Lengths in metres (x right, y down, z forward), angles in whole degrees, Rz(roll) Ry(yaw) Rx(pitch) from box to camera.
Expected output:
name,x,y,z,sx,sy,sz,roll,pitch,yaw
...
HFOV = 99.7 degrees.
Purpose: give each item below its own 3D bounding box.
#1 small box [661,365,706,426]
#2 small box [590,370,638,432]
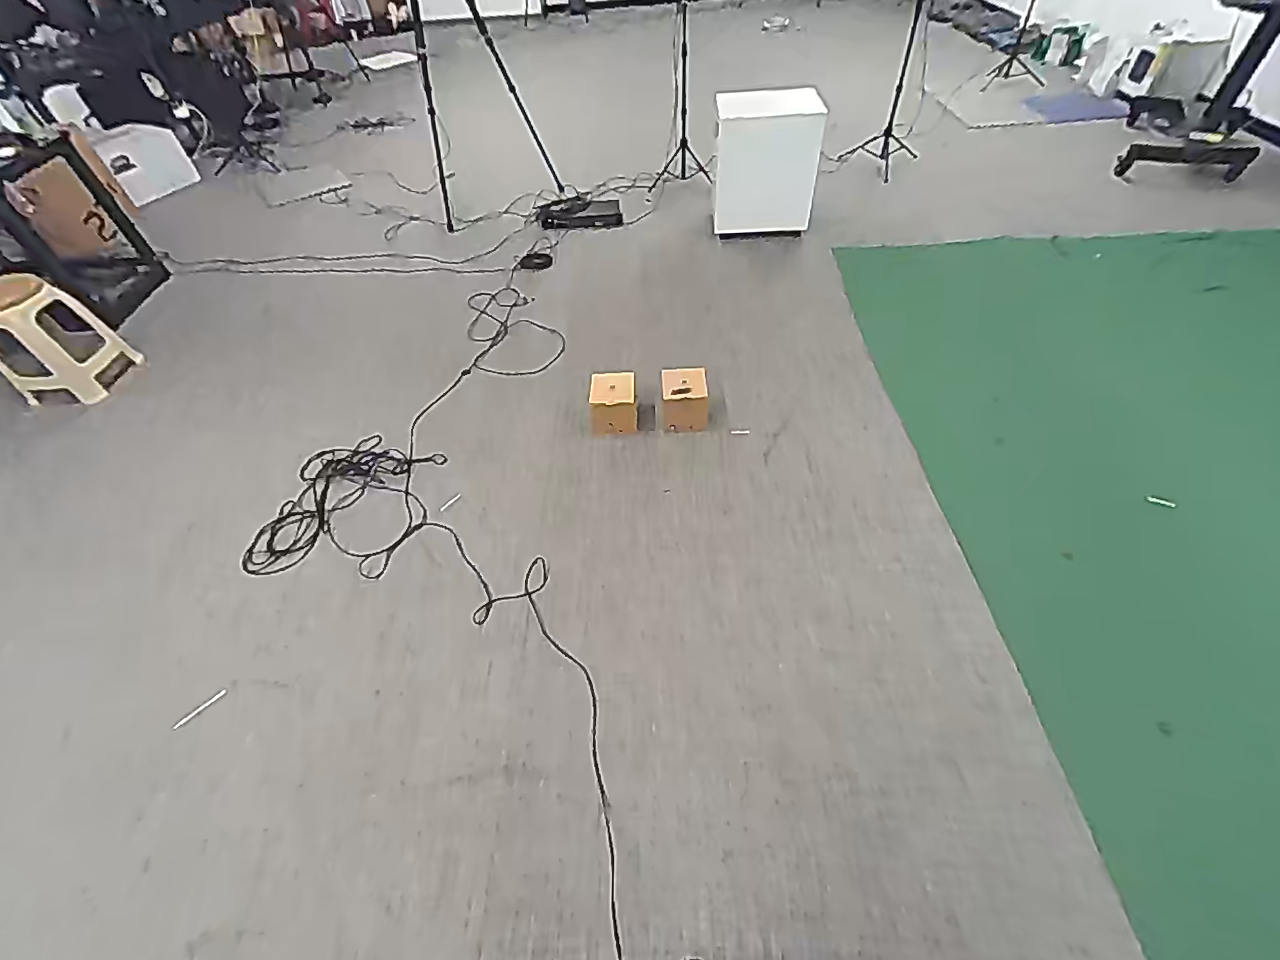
name,x,y,z,sx,sy,sz,roll,pitch,yaw
small box,0.169,-0.320,2.082,0.168,0.176,0.179,-3,49,3
small box,-0.097,-0.305,2.094,0.168,0.176,0.179,-2,50,3
